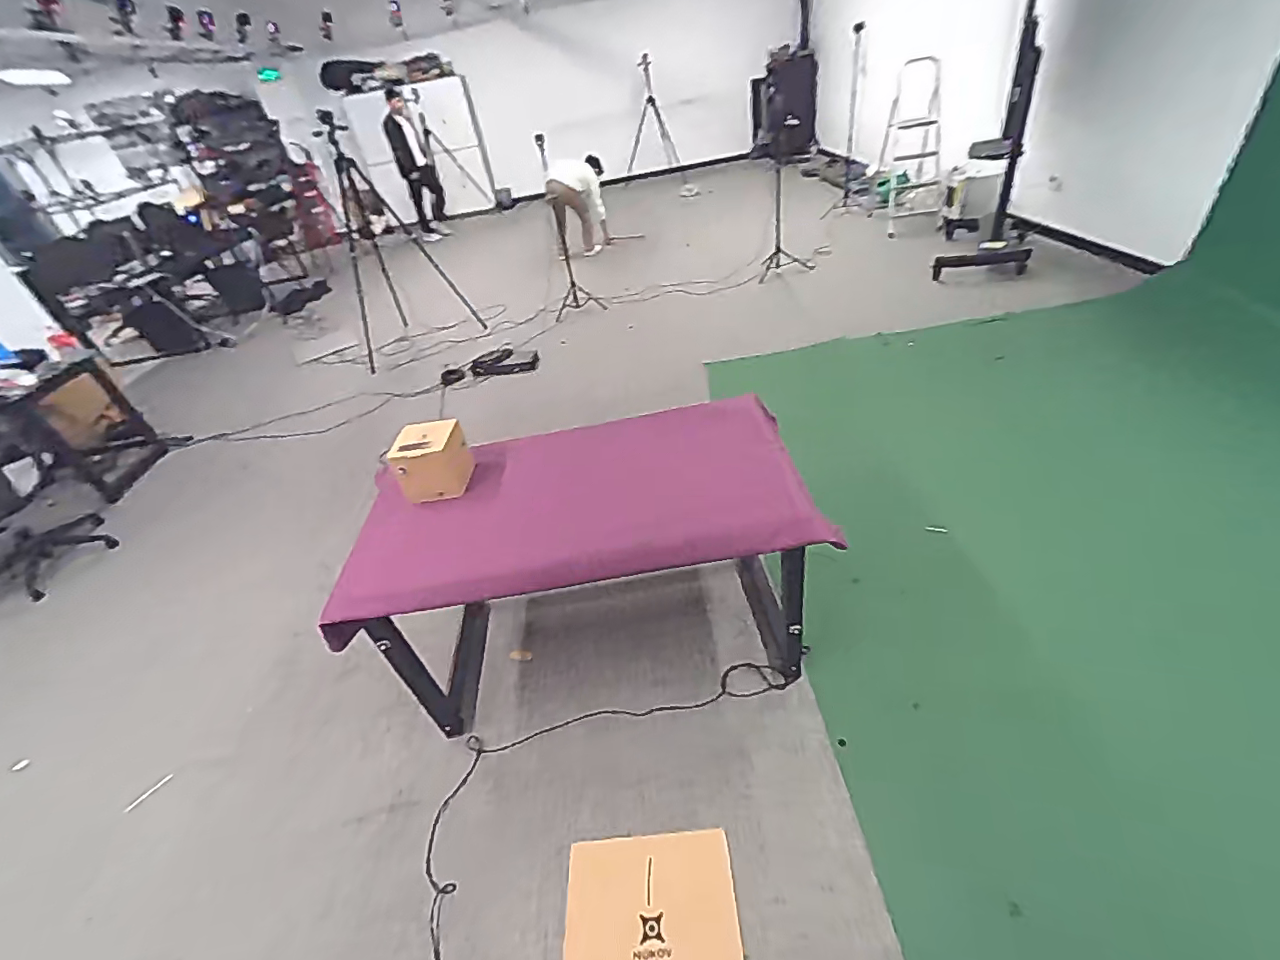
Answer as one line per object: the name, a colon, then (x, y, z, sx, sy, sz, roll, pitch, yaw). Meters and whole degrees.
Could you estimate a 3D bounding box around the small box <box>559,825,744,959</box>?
small box: (0.019, 0.482, 0.538, 0.168, 0.176, 0.179, -9, 34, 3)
